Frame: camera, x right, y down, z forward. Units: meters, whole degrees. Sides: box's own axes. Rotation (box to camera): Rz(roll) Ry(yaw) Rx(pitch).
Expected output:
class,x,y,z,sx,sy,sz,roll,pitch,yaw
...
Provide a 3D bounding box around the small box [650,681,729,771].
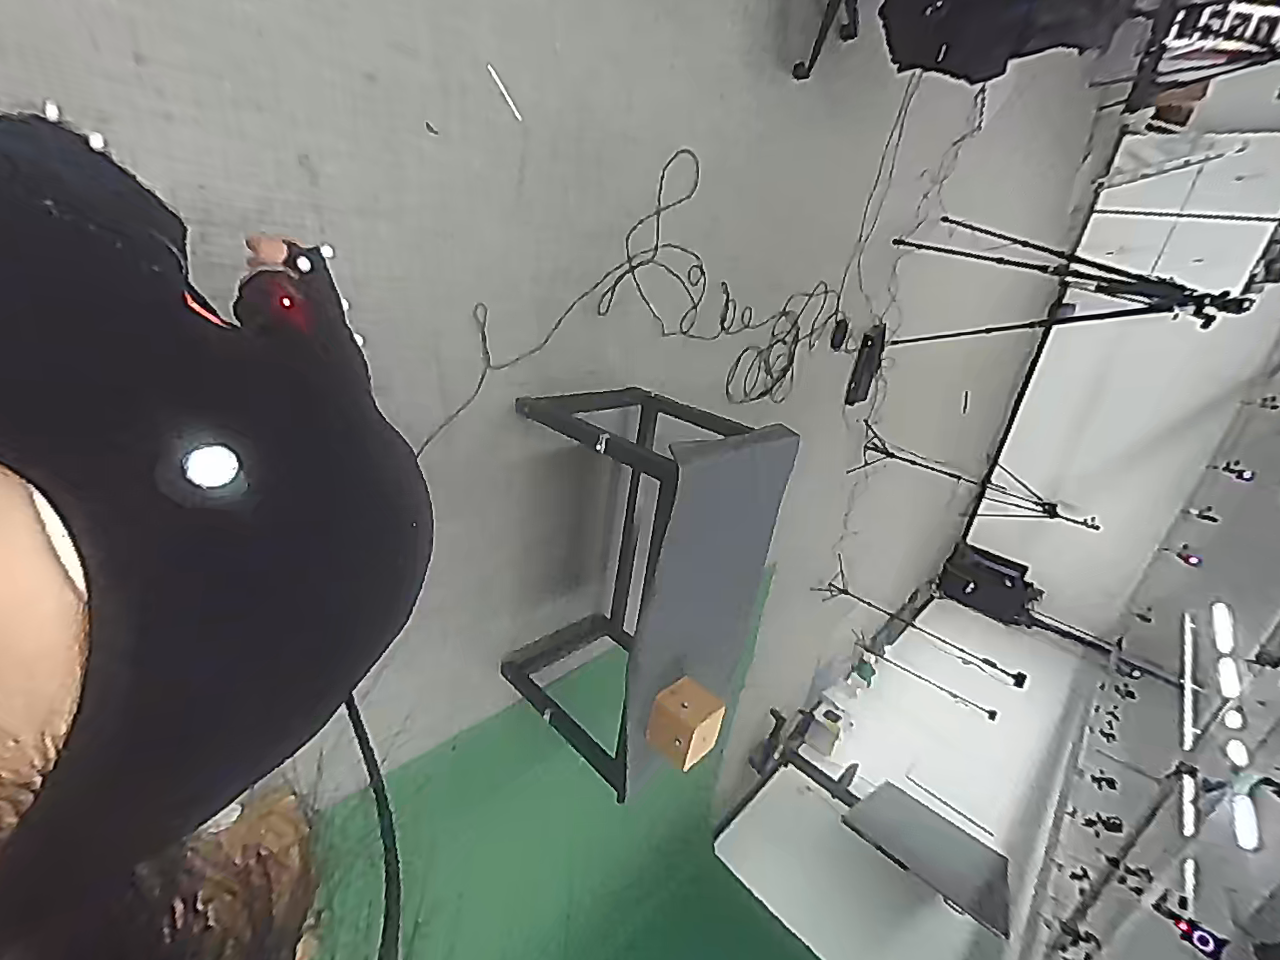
class,x,y,z,sx,sy,sz,roll,pitch,yaw
small box,0.152,0.765,1.710,0.168,0.176,0.179,-10,119,-46

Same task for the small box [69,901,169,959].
class,x,y,z,sx,sy,sz,roll,pitch,yaw
small box,-1.323,1.231,1.378,0.168,0.176,0.179,-11,117,-47

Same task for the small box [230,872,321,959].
class,x,y,z,sx,sy,sz,roll,pitch,yaw
small box,-1.002,1.245,1.484,0.179,0.176,0.168,-12,119,-46

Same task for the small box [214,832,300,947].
class,x,y,z,sx,sy,sz,roll,pitch,yaw
small box,-1.118,1.193,1.588,0.179,0.176,0.168,-12,118,-44
